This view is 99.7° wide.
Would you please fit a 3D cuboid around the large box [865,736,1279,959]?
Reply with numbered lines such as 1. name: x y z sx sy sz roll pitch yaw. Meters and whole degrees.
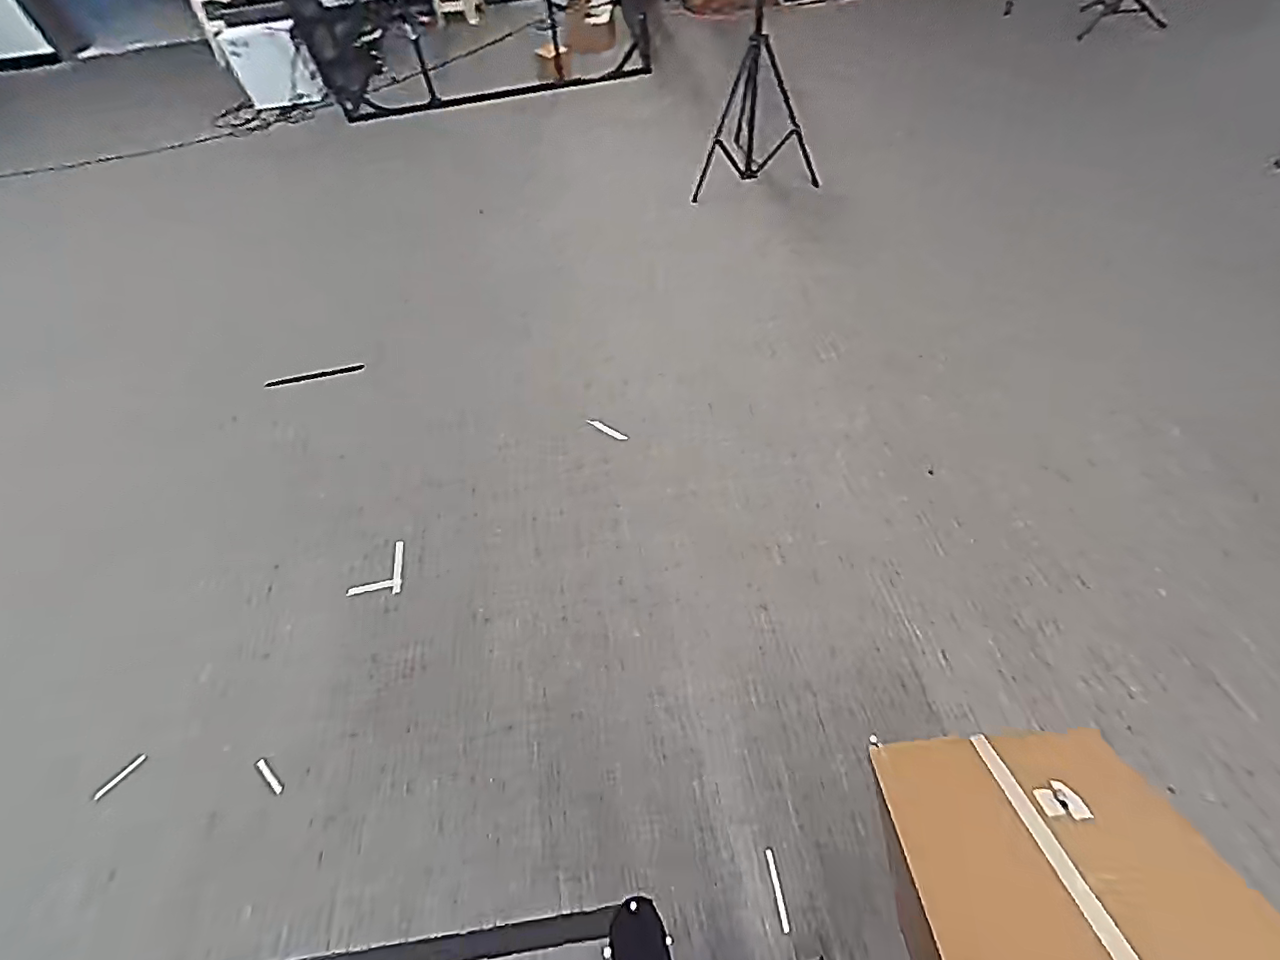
1. large box: 0.505 0.585 0.652 0.320 0.320 0.408 -10 9 11
